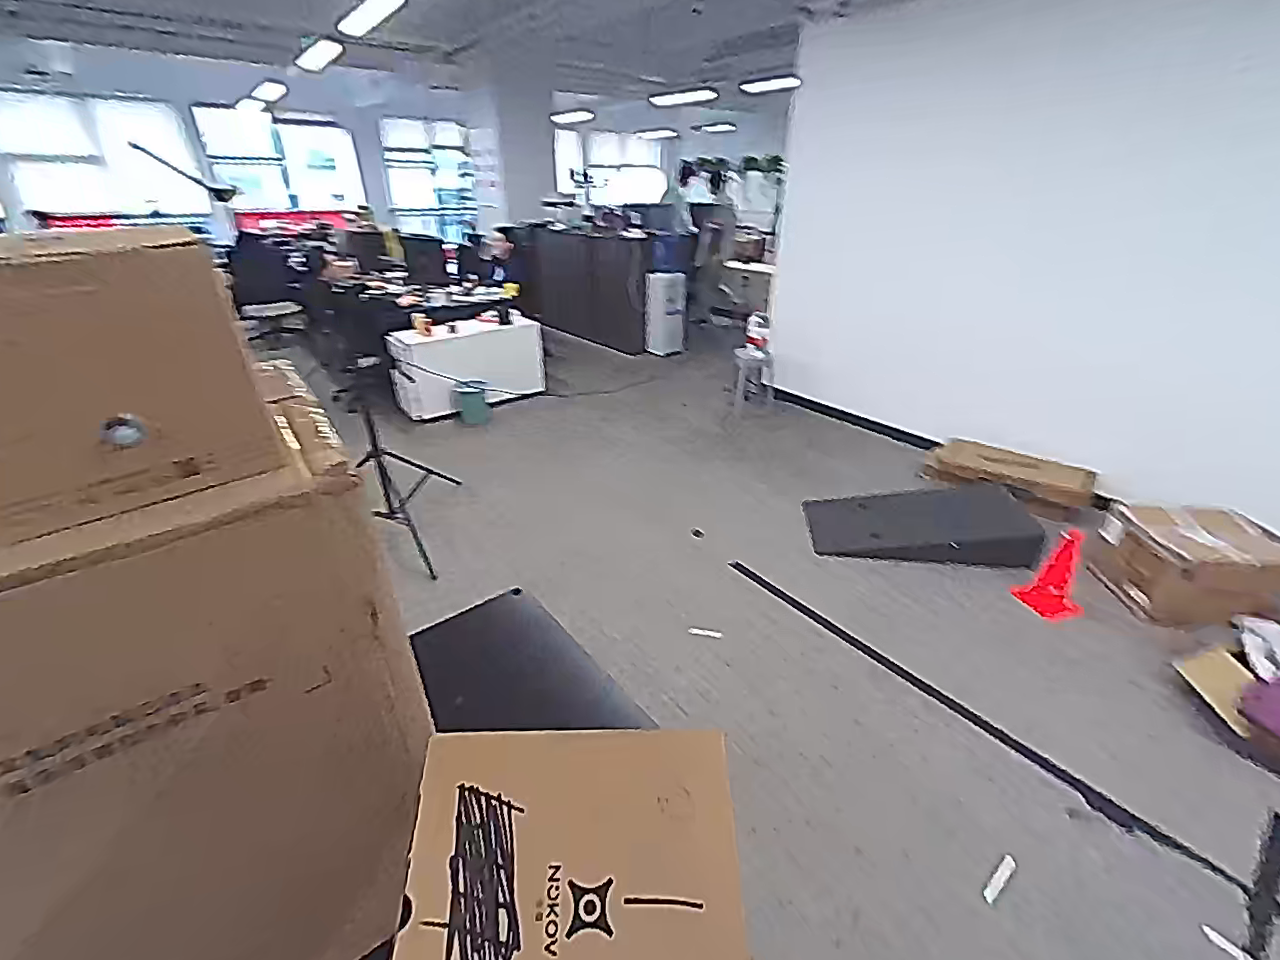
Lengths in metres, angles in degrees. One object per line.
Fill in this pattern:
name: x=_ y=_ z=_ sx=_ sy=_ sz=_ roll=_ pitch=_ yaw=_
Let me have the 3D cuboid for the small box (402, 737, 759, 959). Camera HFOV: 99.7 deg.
small box: x=-0.032 y=0.267 z=0.335 sx=0.179 sy=0.176 sz=0.168 roll=1 pitch=52 yaw=-4

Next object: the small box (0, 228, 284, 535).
small box: x=-0.398 y=-0.086 z=0.402 sx=0.168 sy=0.176 sz=0.179 roll=-25 pitch=38 yaw=-34
